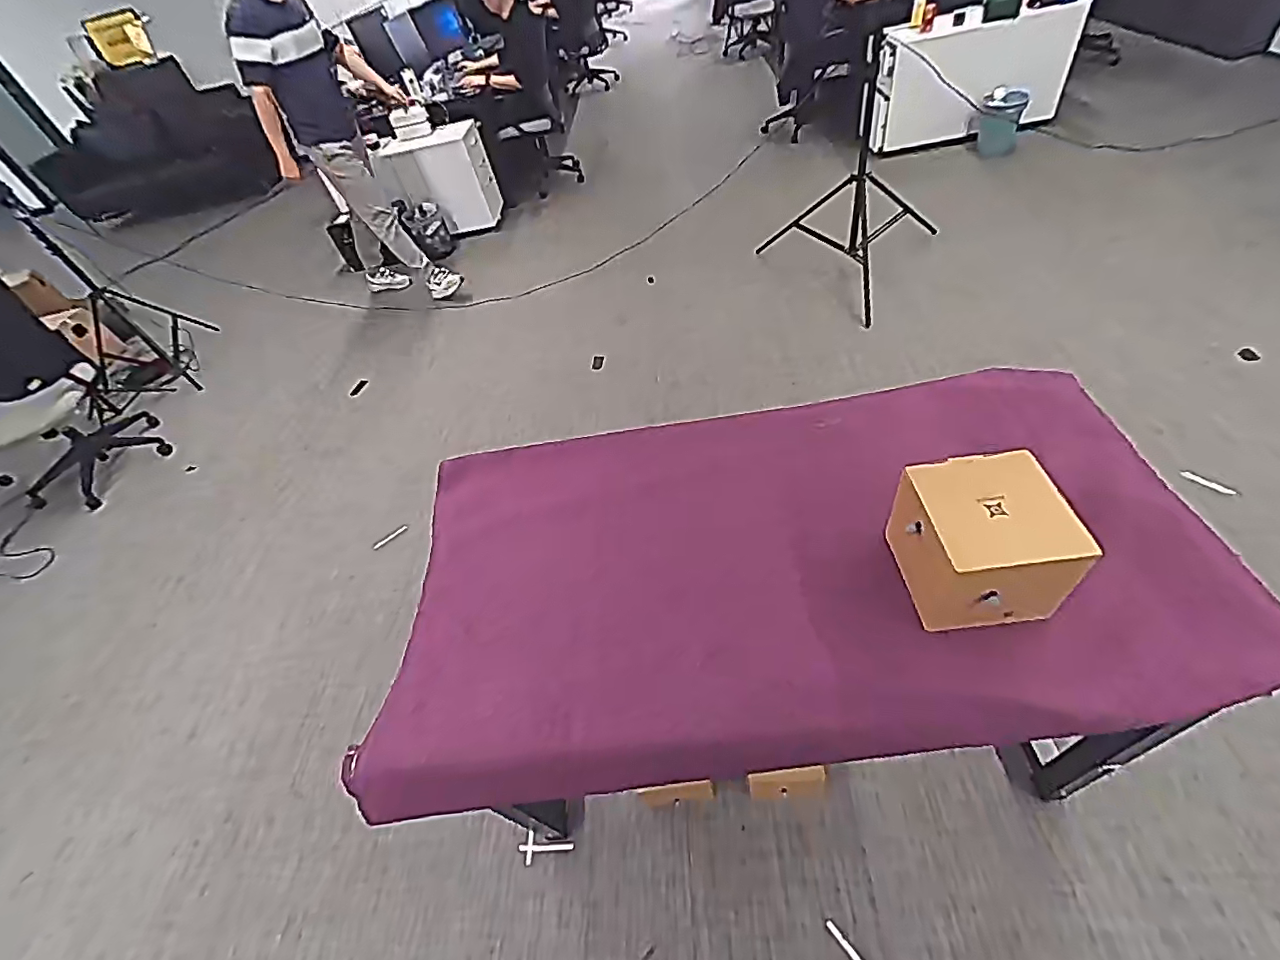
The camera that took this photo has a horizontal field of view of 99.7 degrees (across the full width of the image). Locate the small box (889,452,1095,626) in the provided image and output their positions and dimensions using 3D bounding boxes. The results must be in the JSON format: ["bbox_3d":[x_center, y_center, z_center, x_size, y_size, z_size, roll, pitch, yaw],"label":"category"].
[{"bbox_3d":[0.467,0.090,0.753,0.168,0.176,0.179,-8,47,6],"label":"small box"}]

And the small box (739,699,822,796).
[{"bbox_3d":[0.331,0.640,1.287,0.168,0.176,0.179,-6,47,8],"label":"small box"}]
